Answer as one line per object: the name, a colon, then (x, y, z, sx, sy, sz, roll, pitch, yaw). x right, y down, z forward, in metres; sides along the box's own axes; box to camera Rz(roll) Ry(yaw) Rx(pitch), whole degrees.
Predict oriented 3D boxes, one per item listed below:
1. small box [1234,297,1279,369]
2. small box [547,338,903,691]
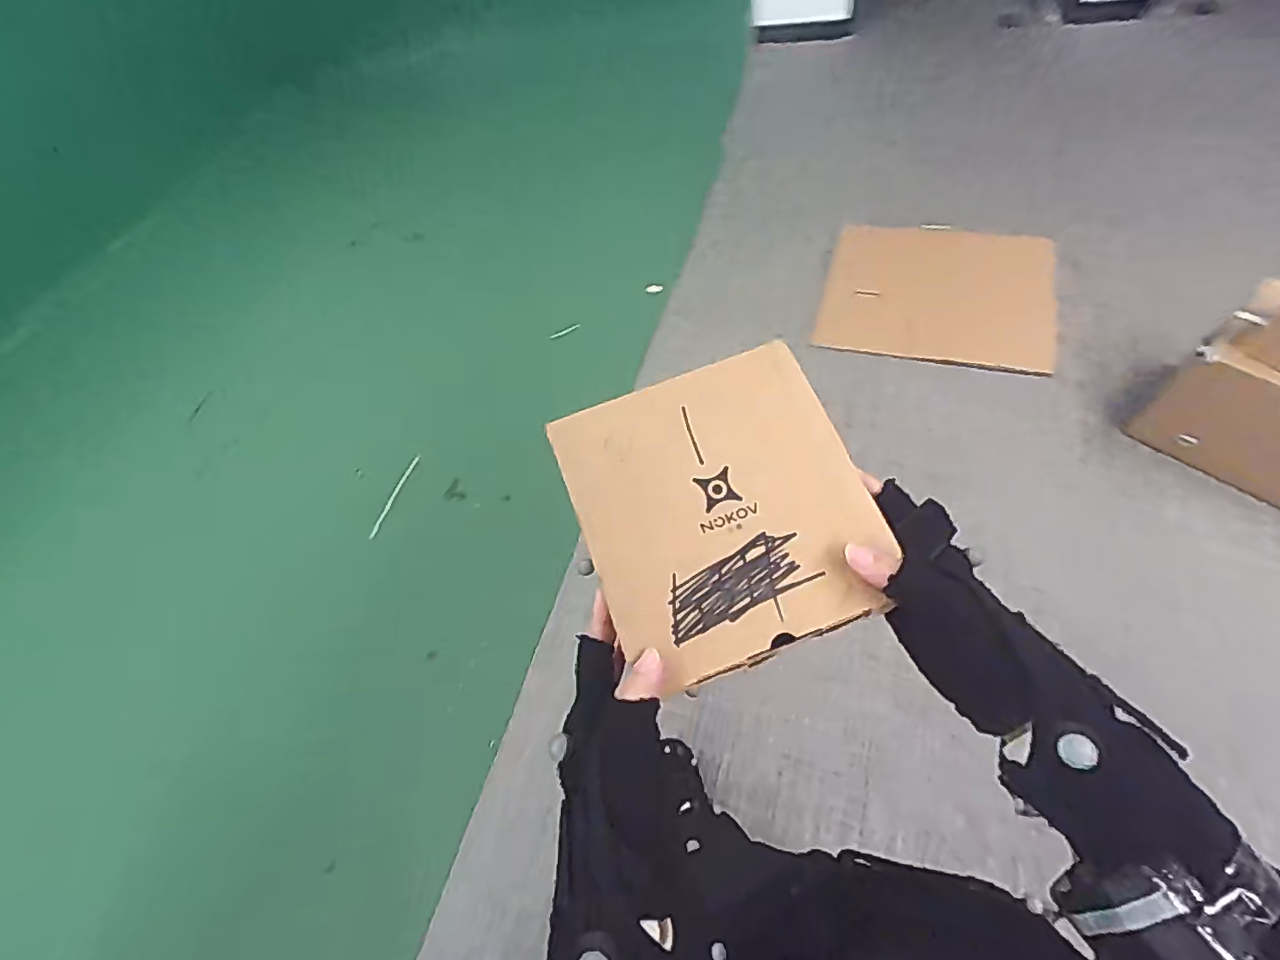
small box: (1.393, -0.325, 1.093, 0.168, 0.176, 0.179, -38, 61, -12)
small box: (0.051, 0.033, 0.404, 0.168, 0.176, 0.179, -23, 73, -4)
